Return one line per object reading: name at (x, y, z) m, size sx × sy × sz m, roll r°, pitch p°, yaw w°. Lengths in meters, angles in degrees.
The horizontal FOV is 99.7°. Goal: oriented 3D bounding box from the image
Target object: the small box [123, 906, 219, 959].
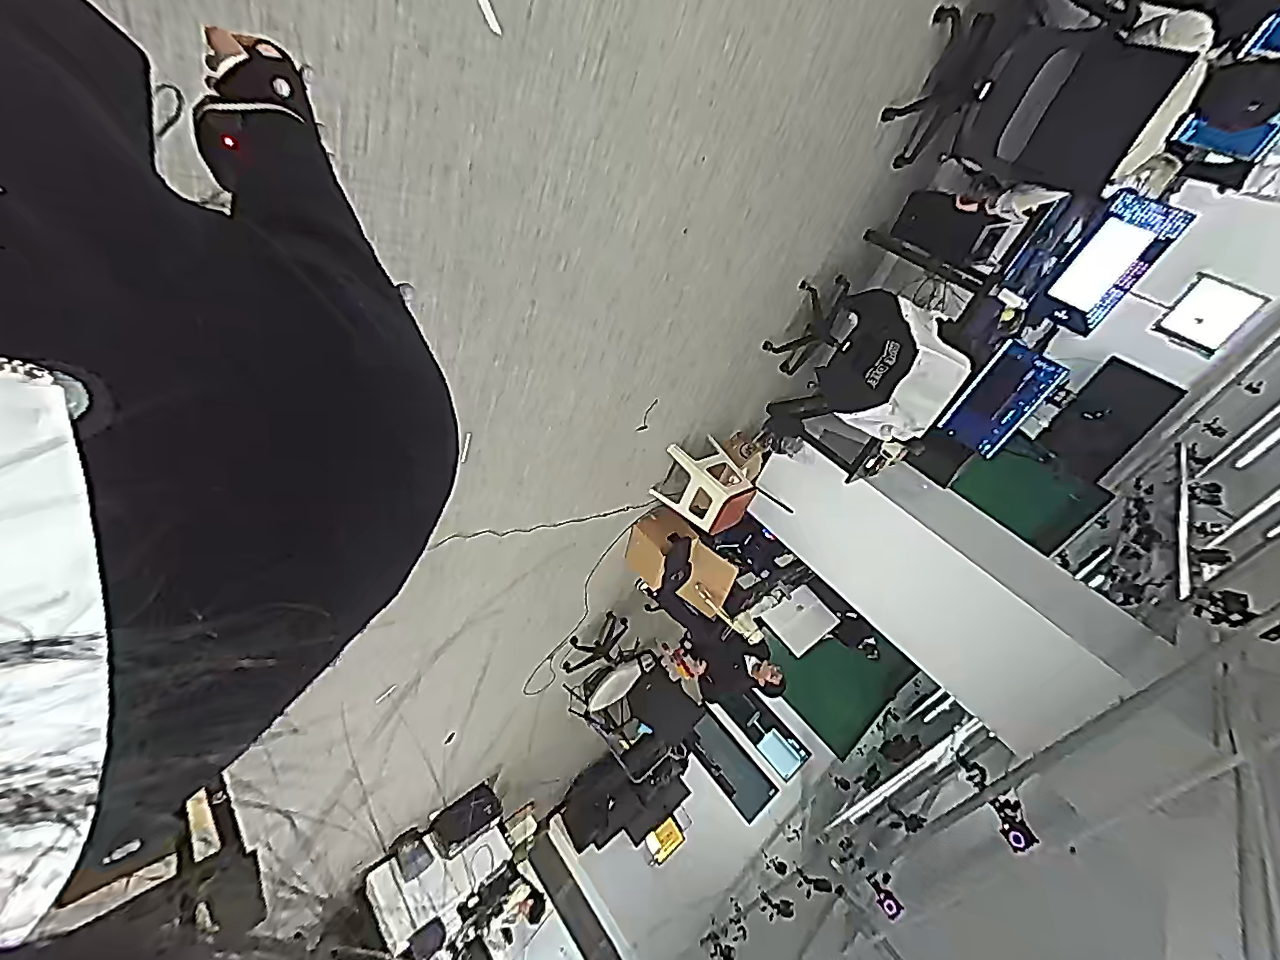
small box at (-1.236, 1.293, 1.431) m, size 0.179 × 0.176 × 0.168 m, roll -17°, pitch 142°, yaw -43°
